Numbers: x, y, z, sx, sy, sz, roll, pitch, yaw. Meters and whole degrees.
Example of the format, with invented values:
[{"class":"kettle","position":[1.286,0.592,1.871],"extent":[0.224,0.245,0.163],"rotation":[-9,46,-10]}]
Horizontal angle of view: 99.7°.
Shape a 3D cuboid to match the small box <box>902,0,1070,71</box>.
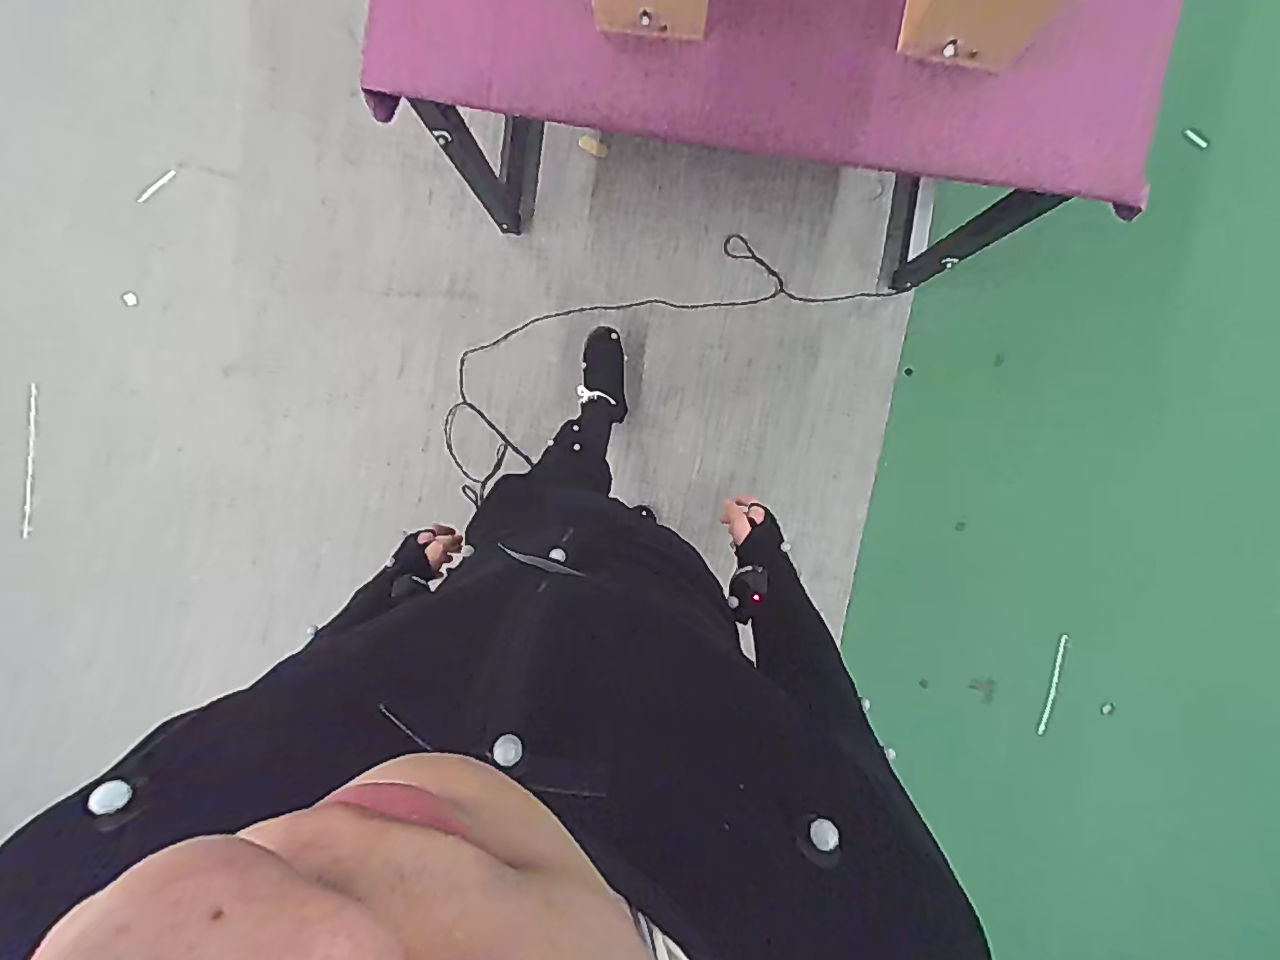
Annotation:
[{"class":"small box","position":[0.480,-0.707,0.726],"extent":[0.168,0.176,0.179],"rotation":[11,95,2]}]
